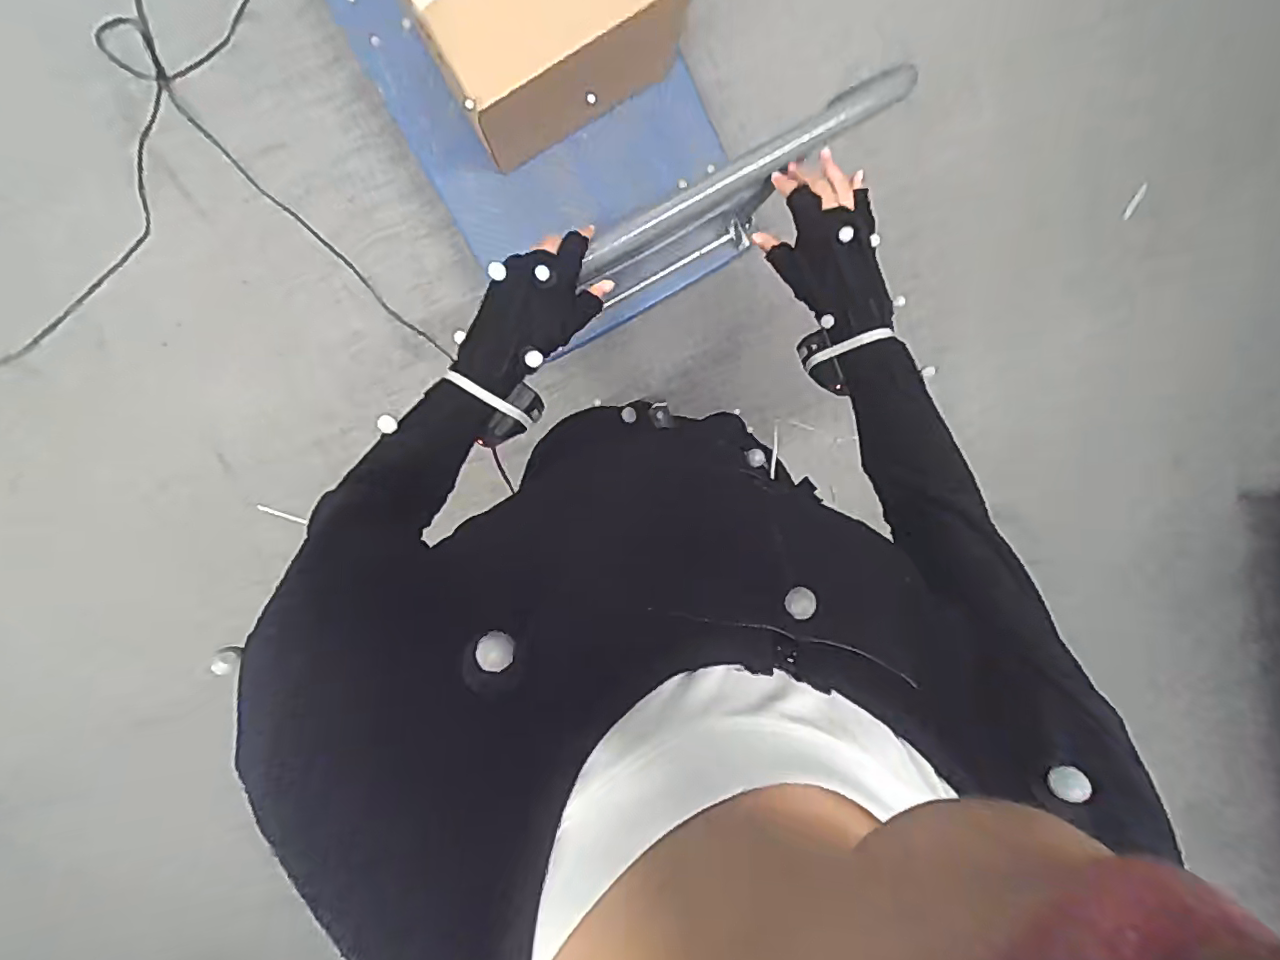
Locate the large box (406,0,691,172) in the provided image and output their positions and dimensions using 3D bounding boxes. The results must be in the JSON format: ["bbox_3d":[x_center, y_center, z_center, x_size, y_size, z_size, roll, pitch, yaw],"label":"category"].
[{"bbox_3d":[-0.164,-0.830,0.939,0.408,0.320,0.320,-32,104,2],"label":"large box"}]
